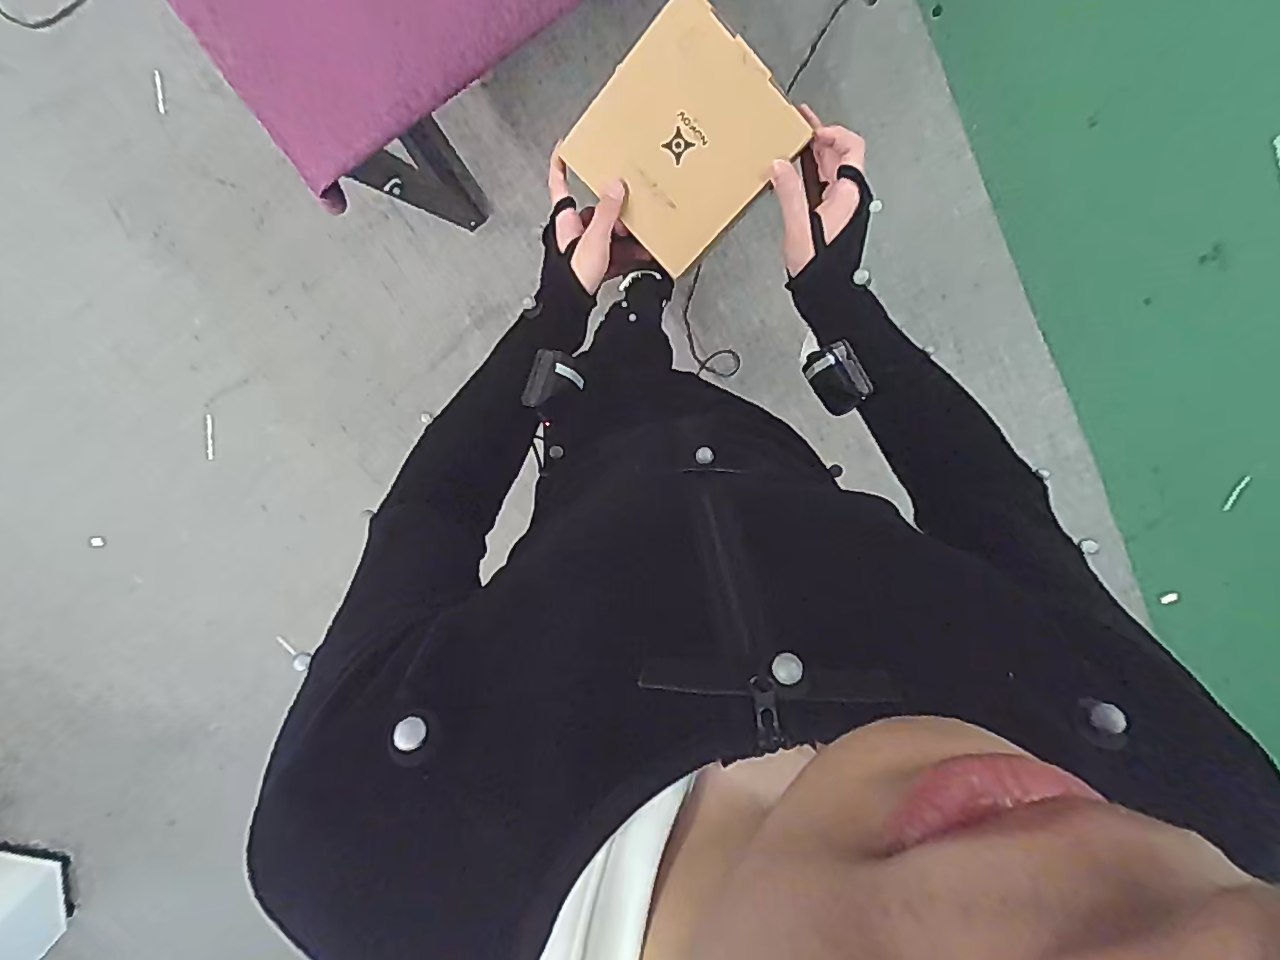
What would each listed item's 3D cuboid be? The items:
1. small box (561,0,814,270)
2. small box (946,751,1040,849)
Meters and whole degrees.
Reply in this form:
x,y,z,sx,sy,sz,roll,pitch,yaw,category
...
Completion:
x,y,z,sx,sy,sz,roll,pitch,yaw,category
0.050,-0.345,0.565,0.168,0.176,0.179,45,111,-8,small box
1.045,0.951,1.617,0.179,0.176,0.168,-19,107,8,small box
